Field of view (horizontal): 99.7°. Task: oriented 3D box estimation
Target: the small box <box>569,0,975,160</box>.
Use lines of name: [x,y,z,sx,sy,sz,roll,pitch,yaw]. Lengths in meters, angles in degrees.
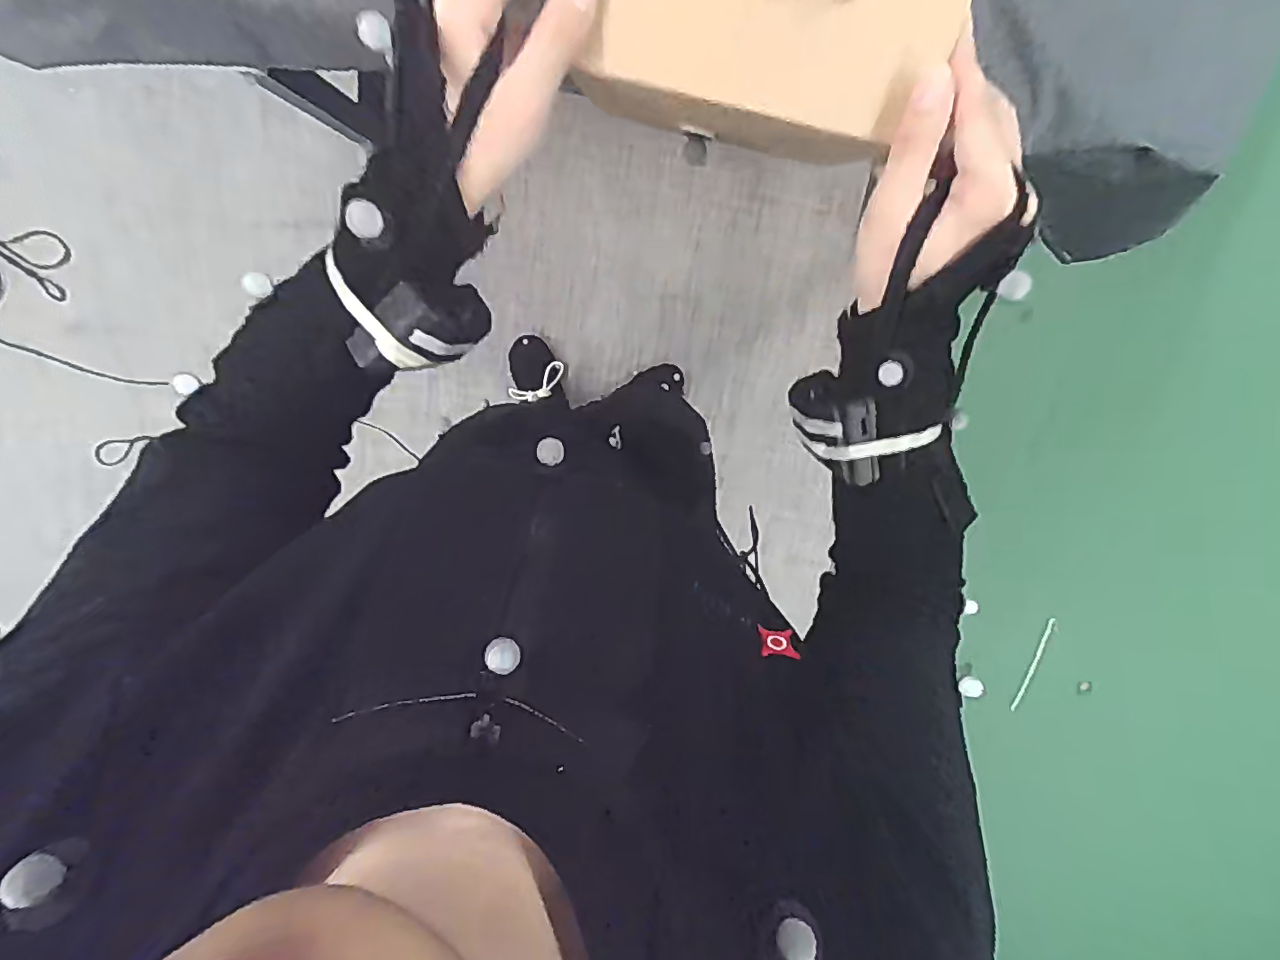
small box: [0.069,-0.282,0.272,0.168,0.176,0.179,12,117,-3]
